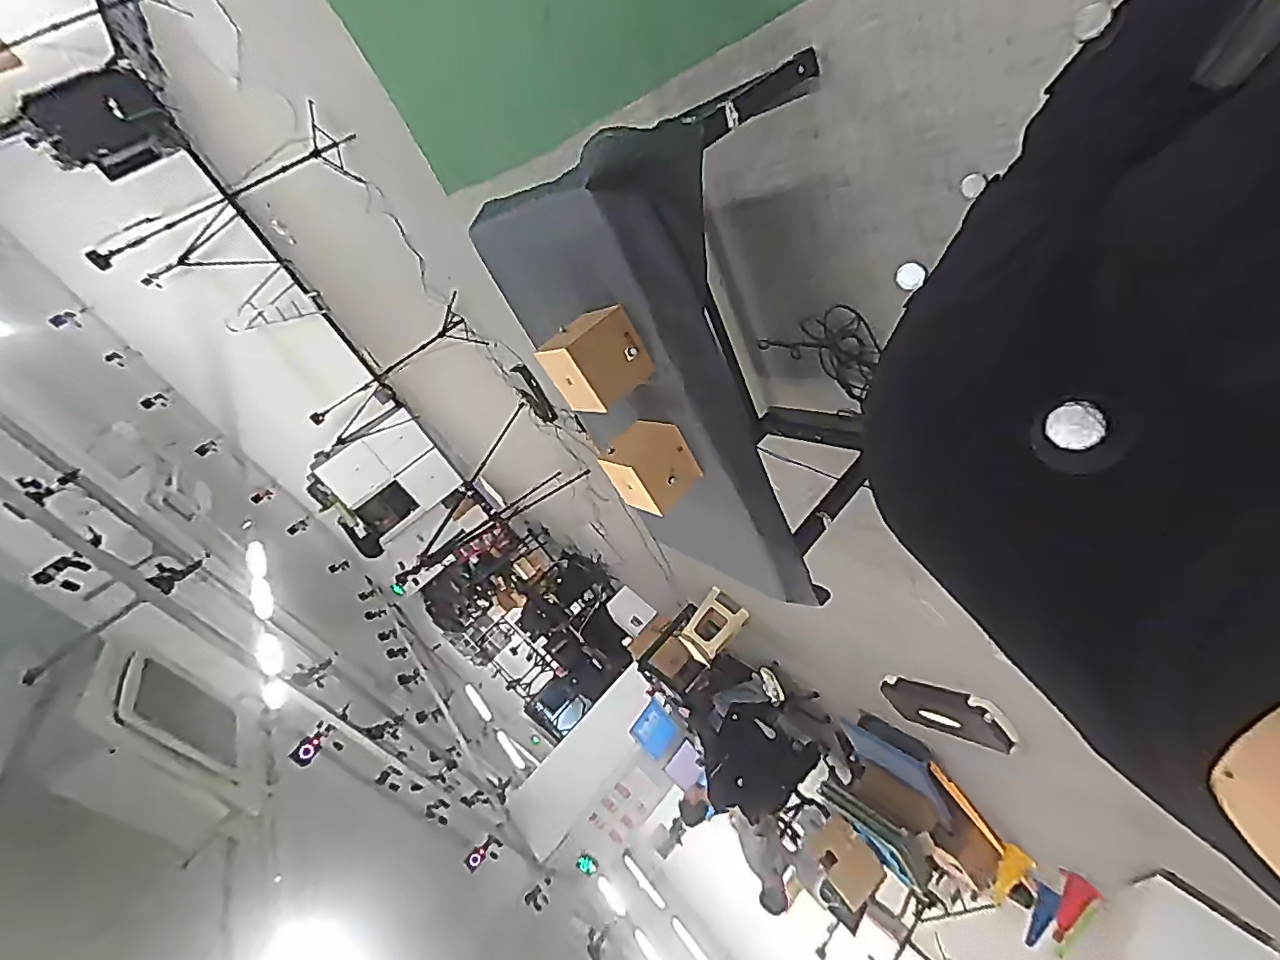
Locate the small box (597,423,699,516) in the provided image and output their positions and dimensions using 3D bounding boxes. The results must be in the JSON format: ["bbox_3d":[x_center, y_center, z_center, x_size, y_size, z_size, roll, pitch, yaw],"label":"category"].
[{"bbox_3d":[0.029,-0.034,1.399,0.179,0.176,0.168,15,144,56],"label":"small box"}]

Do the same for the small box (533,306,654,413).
[{"bbox_3d":[-0.102,-0.268,1.214,0.179,0.176,0.168,12,142,56],"label":"small box"}]
